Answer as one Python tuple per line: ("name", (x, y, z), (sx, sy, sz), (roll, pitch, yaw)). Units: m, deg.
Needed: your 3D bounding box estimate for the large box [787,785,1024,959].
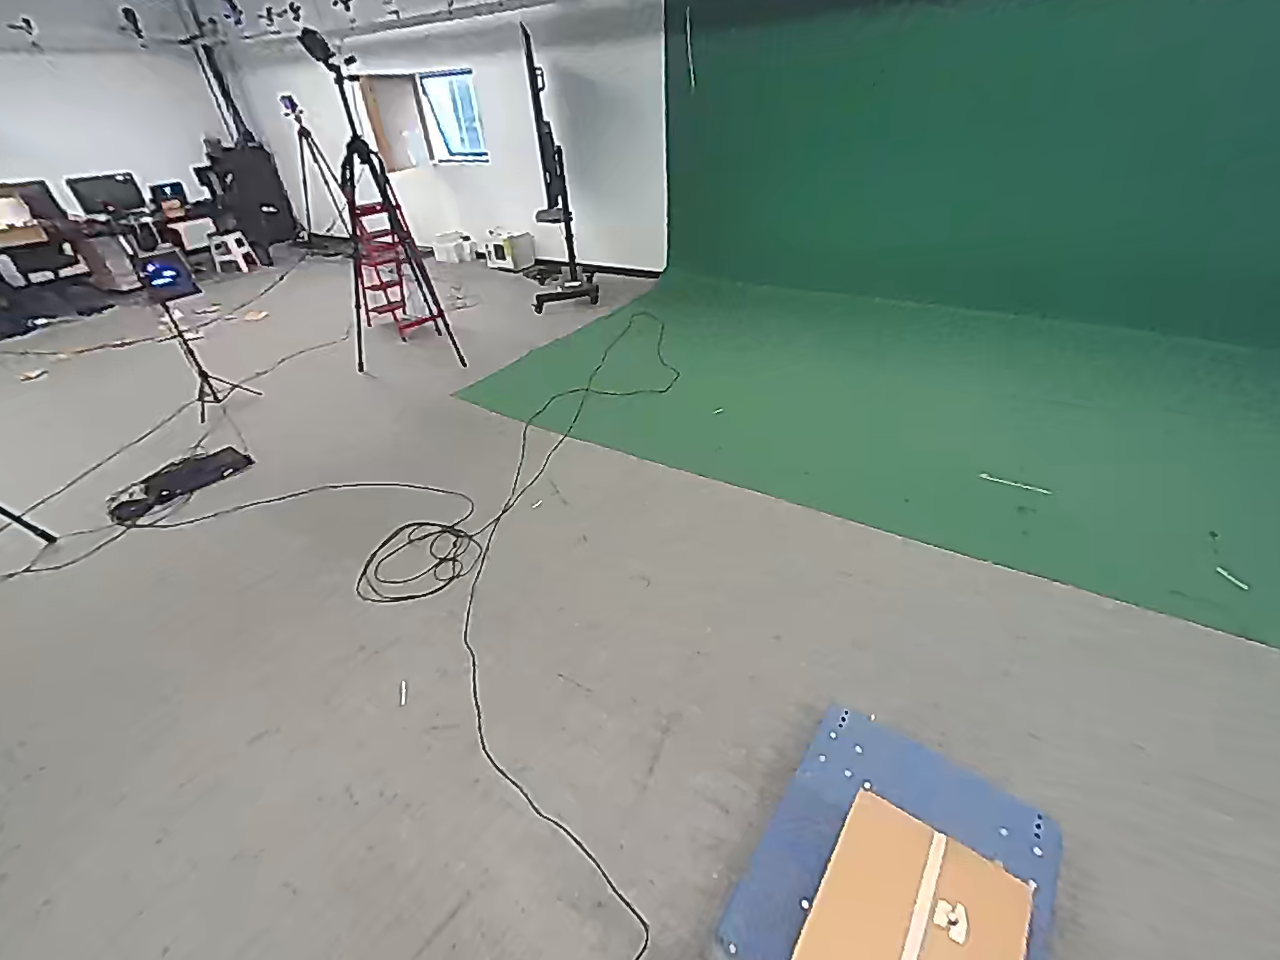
("large box", (0.469, 0.904, 1.016), (0.320, 0.320, 0.408), (22, 42, 30))
